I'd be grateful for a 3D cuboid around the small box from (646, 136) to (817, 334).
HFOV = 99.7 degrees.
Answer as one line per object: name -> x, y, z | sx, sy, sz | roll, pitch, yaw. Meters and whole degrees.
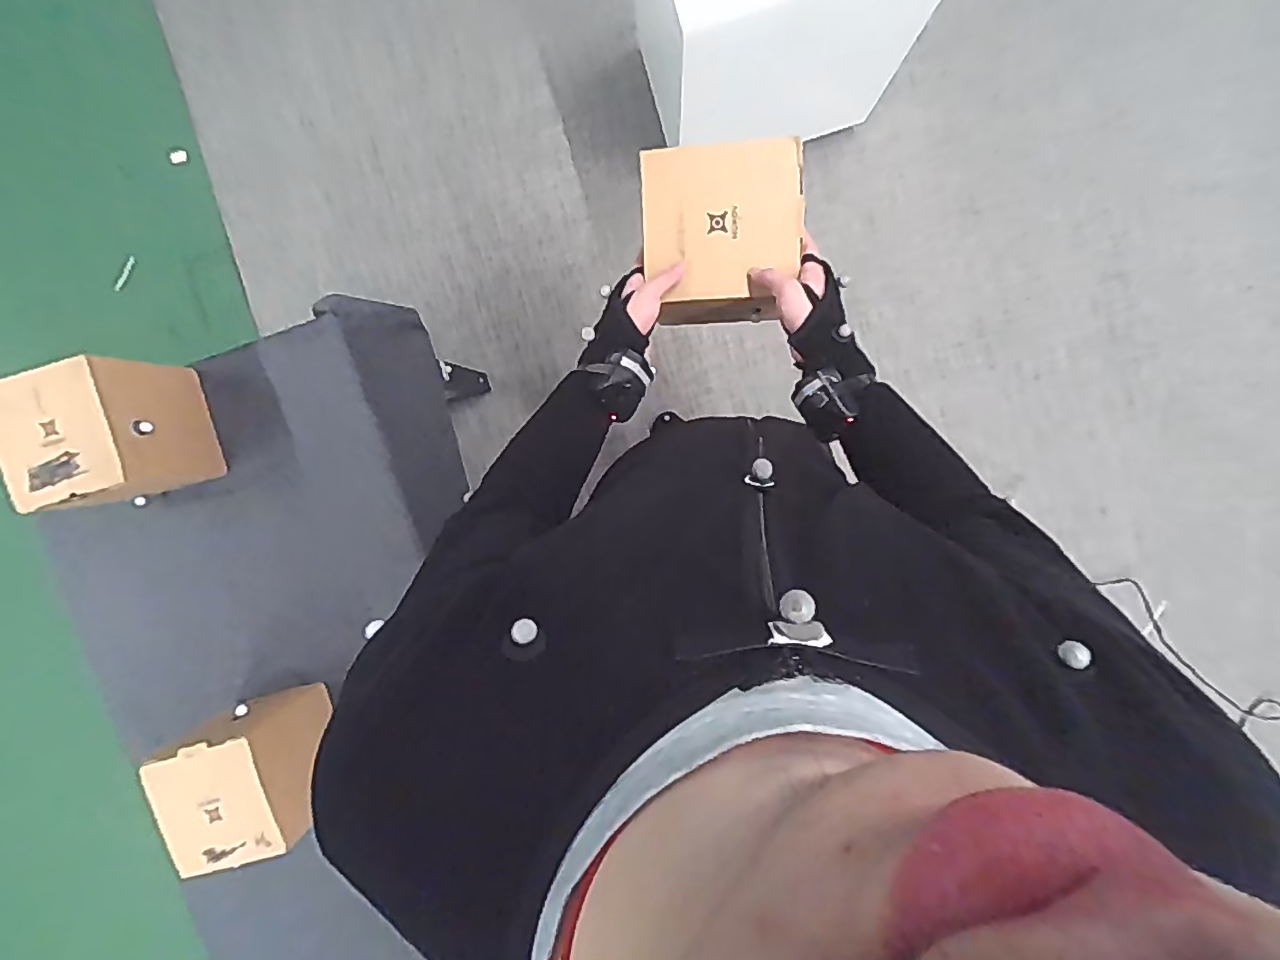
small box -> 0.105, -0.279, 0.654 | 0.179, 0.176, 0.168 | -4, 95, 7
